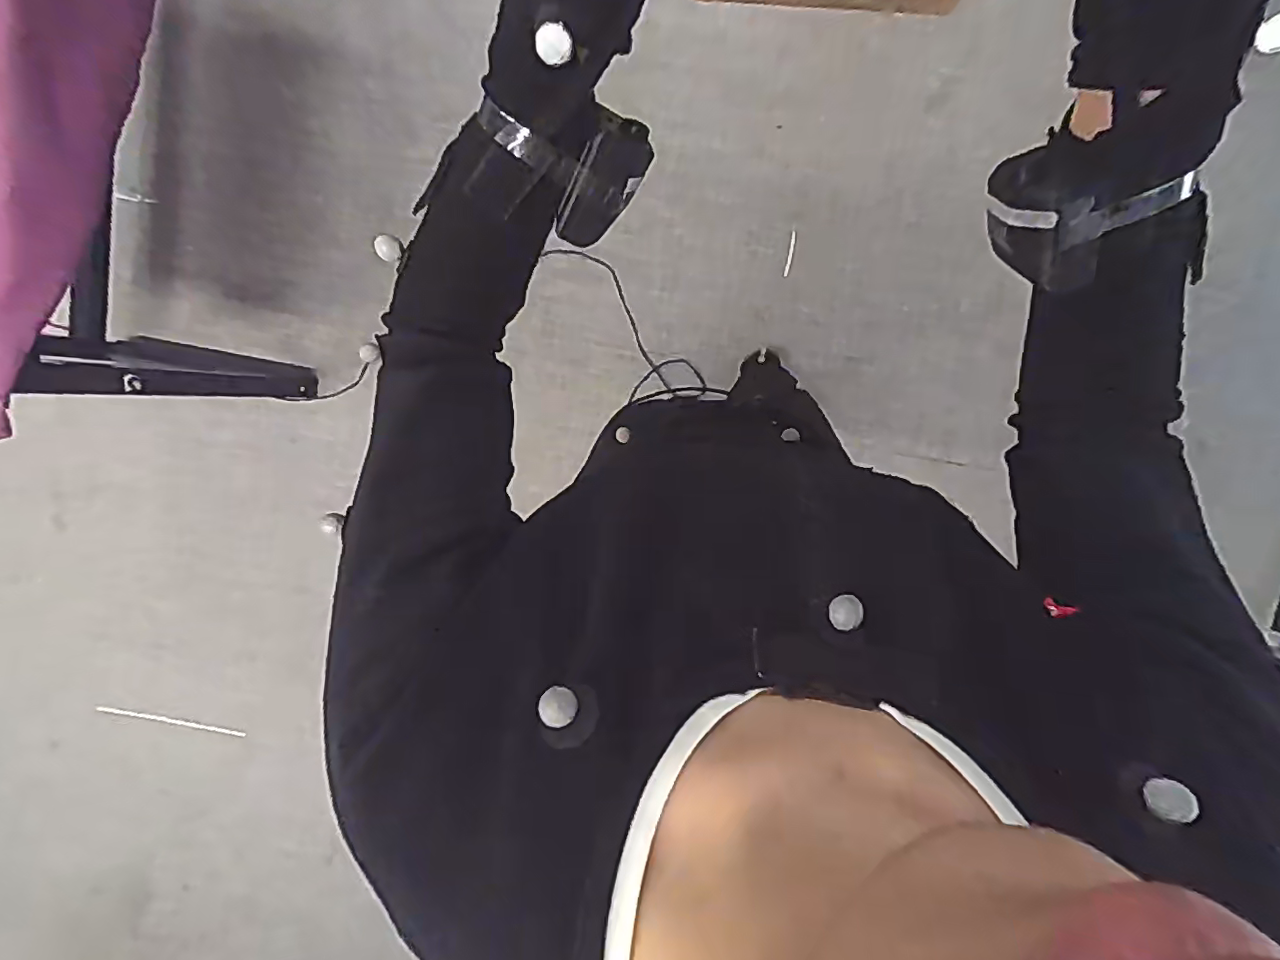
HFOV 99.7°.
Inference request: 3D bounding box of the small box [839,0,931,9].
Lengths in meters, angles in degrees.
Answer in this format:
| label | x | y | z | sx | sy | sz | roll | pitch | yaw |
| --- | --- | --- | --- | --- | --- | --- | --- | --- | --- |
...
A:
| label | x | y | z | sx | sy | sz | roll | pitch | yaw |
| --- | --- | --- | --- | --- | --- | --- | --- | --- | --- |
| small box | 0.115 | -0.376 | 0.249 | 0.168 | 0.176 | 0.179 | 6 | 102 | 2 |
